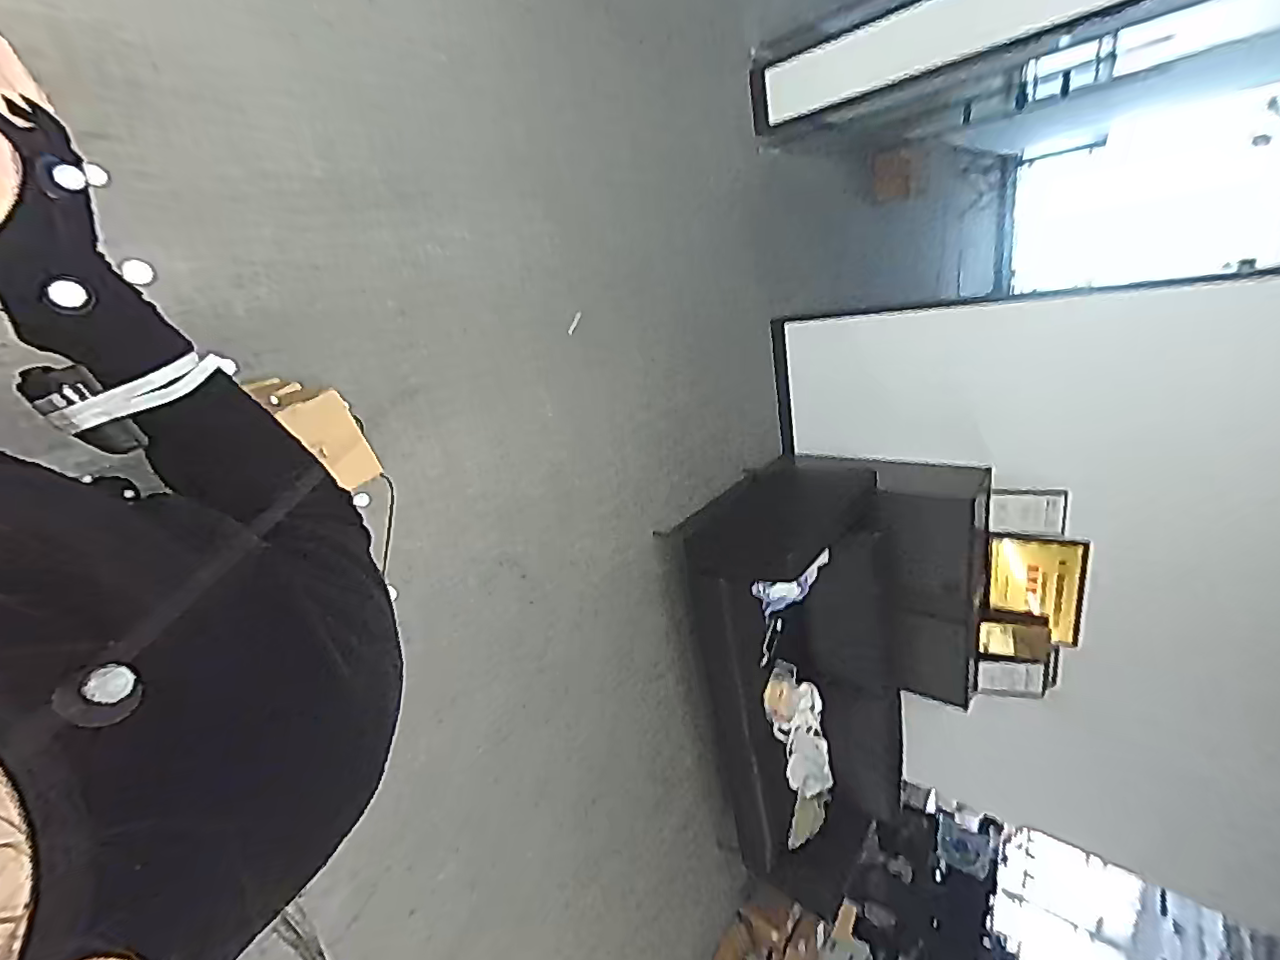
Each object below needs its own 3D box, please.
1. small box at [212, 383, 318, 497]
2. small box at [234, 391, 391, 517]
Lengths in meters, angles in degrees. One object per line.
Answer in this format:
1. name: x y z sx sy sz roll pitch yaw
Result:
1. small box: -0.738 -0.086 1.114 0.179 0.176 0.168 -45 127 -35
2. small box: -0.612 -0.057 1.013 0.168 0.176 0.179 -41 124 -36
